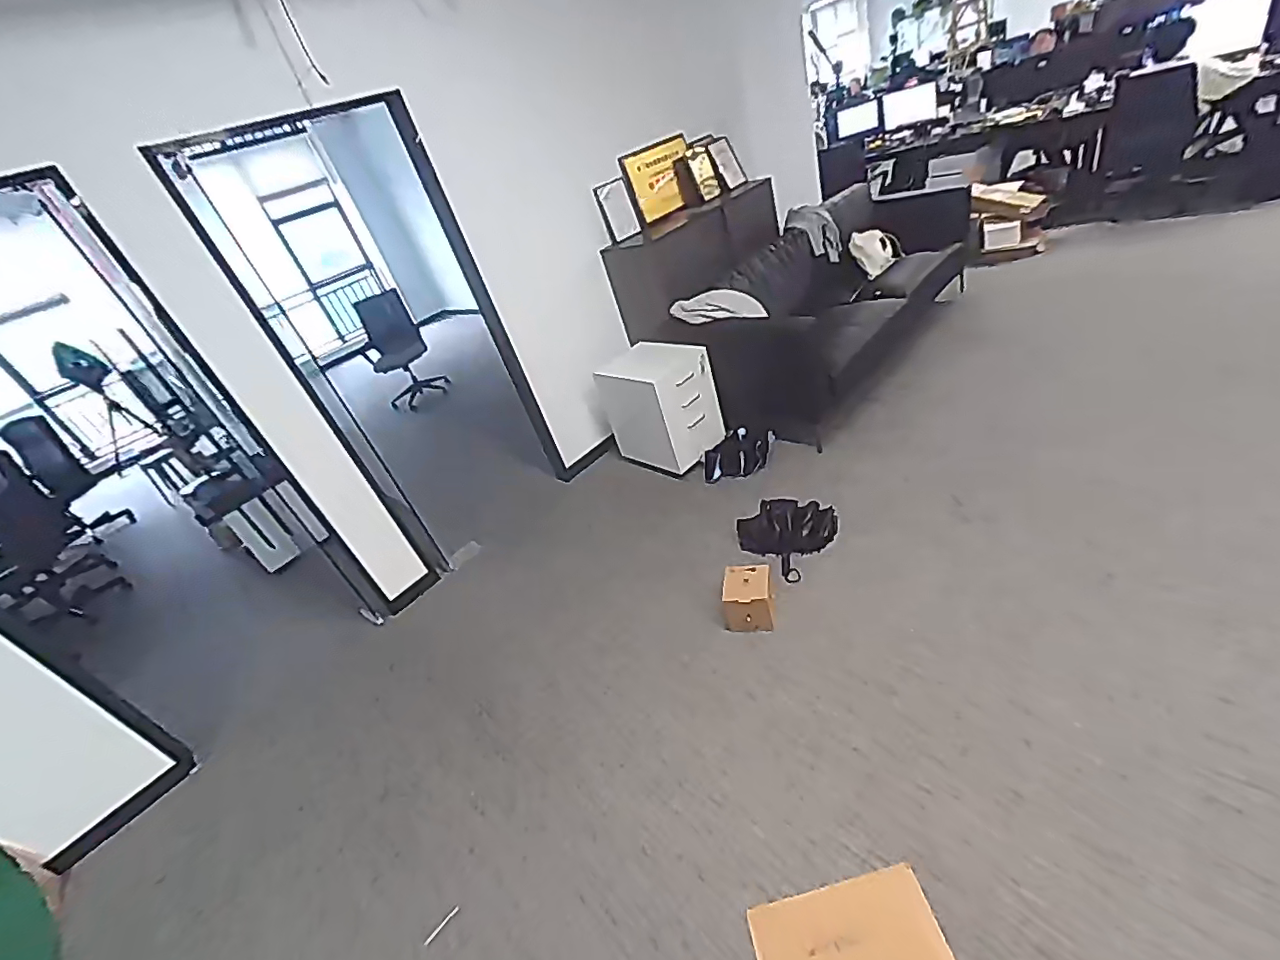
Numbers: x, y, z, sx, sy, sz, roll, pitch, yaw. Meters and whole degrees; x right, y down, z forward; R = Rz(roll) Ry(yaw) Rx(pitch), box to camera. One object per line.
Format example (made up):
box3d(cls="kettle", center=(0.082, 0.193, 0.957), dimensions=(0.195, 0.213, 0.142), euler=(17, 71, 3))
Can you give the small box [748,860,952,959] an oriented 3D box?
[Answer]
box3d(cls="small box", center=(0.221, 0.503, 0.509), dimensions=(0.168, 0.176, 0.179), euler=(-21, 36, 5))
